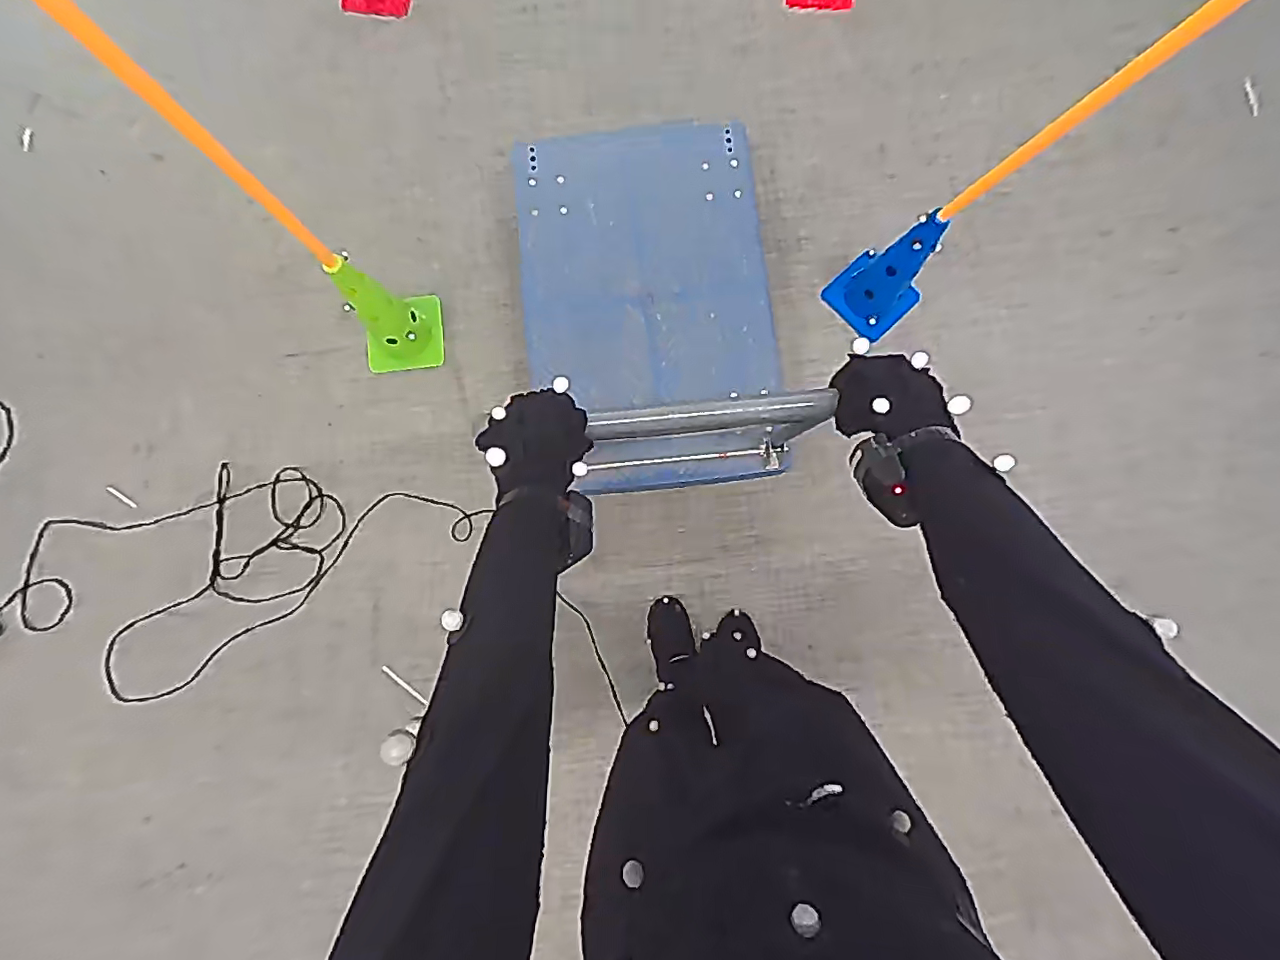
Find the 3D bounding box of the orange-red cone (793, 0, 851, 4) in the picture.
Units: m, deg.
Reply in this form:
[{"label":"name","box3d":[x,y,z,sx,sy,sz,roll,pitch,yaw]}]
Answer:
[{"label":"orange-red cone","box3d":[0.523,-1.487,1.394,0.198,0.360,0.199,5,84,2]}]
